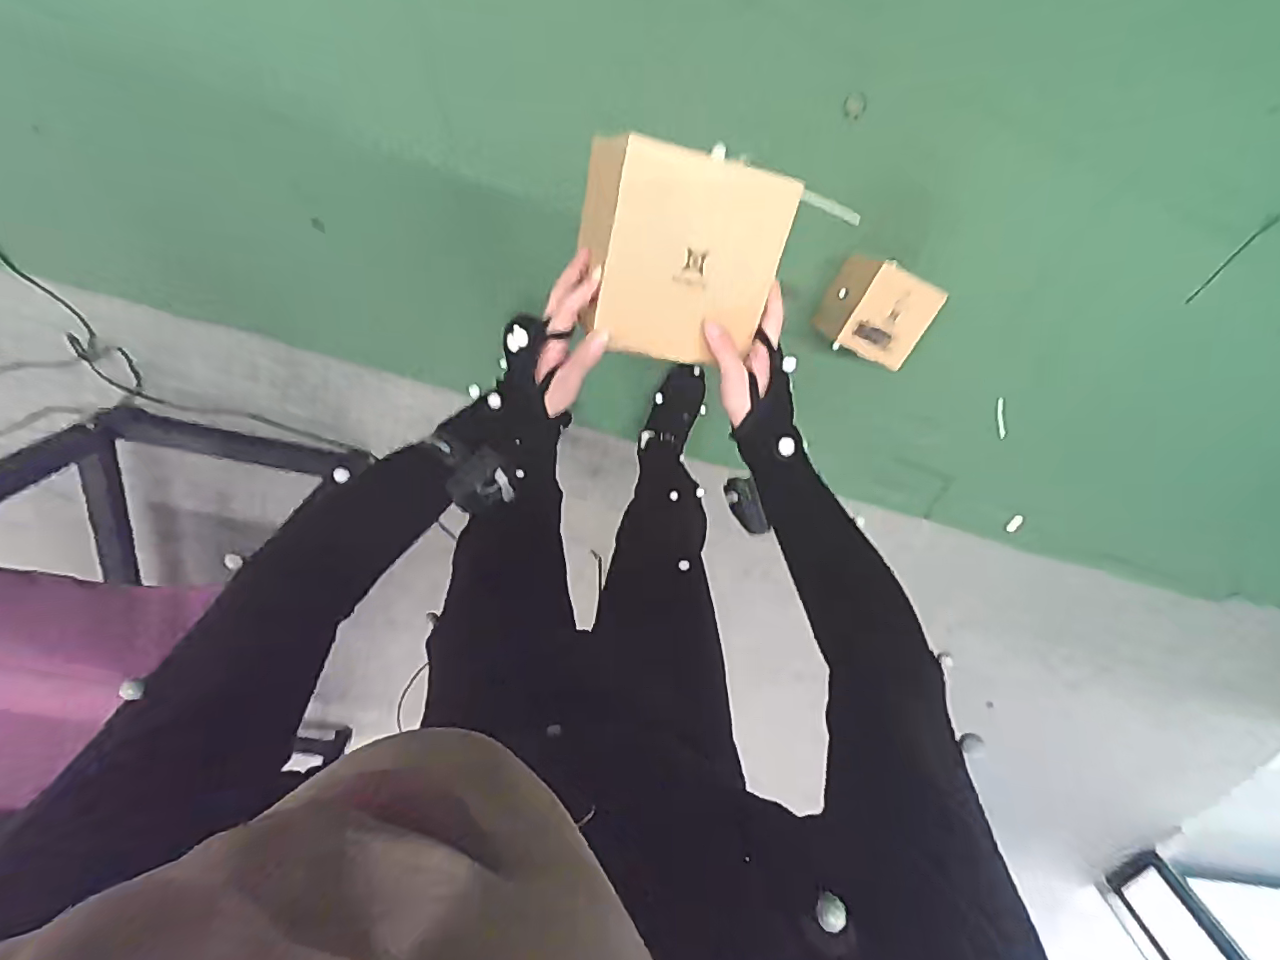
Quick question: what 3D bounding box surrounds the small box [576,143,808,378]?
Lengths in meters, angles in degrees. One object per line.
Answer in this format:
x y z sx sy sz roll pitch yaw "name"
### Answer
0.034 -0.225 0.552 0.168 0.176 0.179 4 121 -17 "small box"
